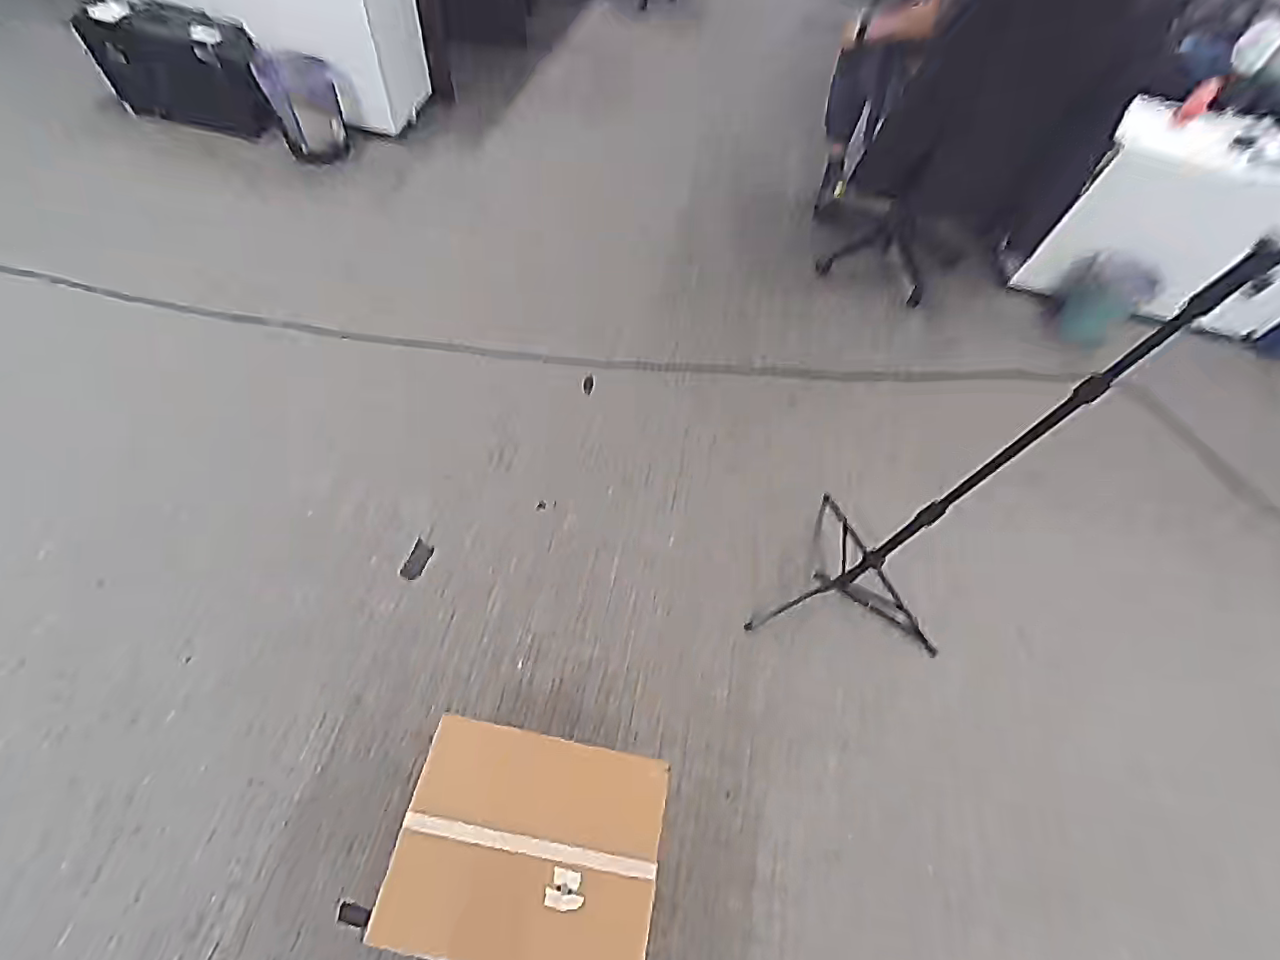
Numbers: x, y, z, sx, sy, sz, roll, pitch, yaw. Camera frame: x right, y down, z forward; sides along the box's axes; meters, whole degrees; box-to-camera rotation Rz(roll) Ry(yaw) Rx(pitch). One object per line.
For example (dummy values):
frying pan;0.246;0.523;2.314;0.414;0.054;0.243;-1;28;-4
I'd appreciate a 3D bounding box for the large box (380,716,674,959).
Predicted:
large box;-0.180;0.654;0.985;0.408;0.320;0.320;13;58;-1
